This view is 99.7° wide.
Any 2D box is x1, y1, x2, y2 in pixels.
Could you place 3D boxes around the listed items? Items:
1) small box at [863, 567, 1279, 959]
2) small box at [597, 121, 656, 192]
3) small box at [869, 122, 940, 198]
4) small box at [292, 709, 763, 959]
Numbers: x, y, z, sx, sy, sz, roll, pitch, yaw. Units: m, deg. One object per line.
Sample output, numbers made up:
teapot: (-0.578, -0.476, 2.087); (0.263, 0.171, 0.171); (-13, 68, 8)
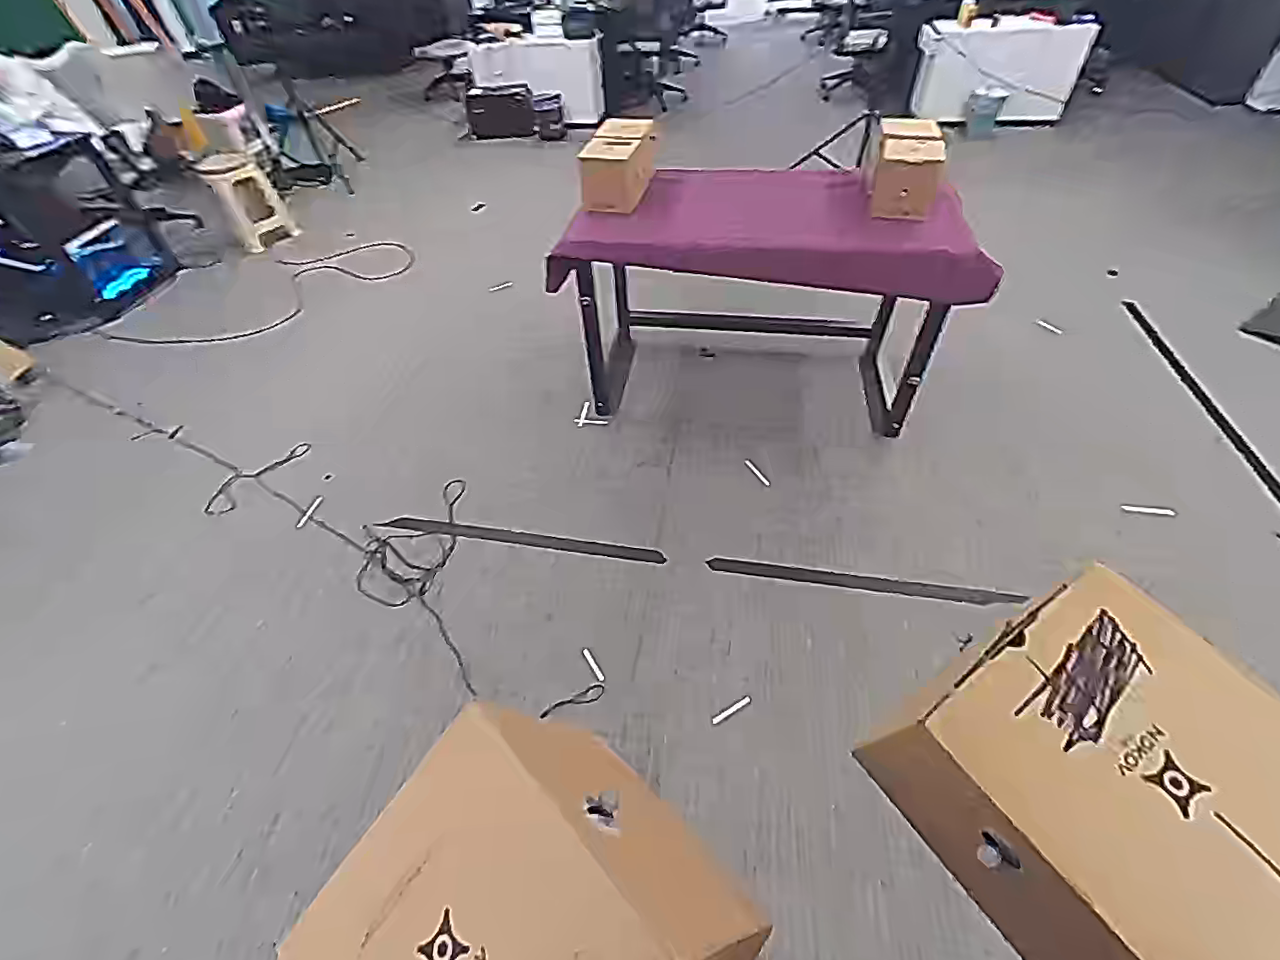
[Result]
small box: (0.281, 0.195, 0.355); (0.168, 0.176, 0.179); (-33, 61, -14)
small box: (-0.043, -1.147, 1.914); (0.168, 0.176, 0.179); (9, 51, 12)
small box: (0.860, -1.050, 1.774); (0.168, 0.176, 0.179); (9, 49, 11)
small box: (-0.052, 0.271, 0.321); (0.179, 0.176, 0.168); (28, 74, 40)
